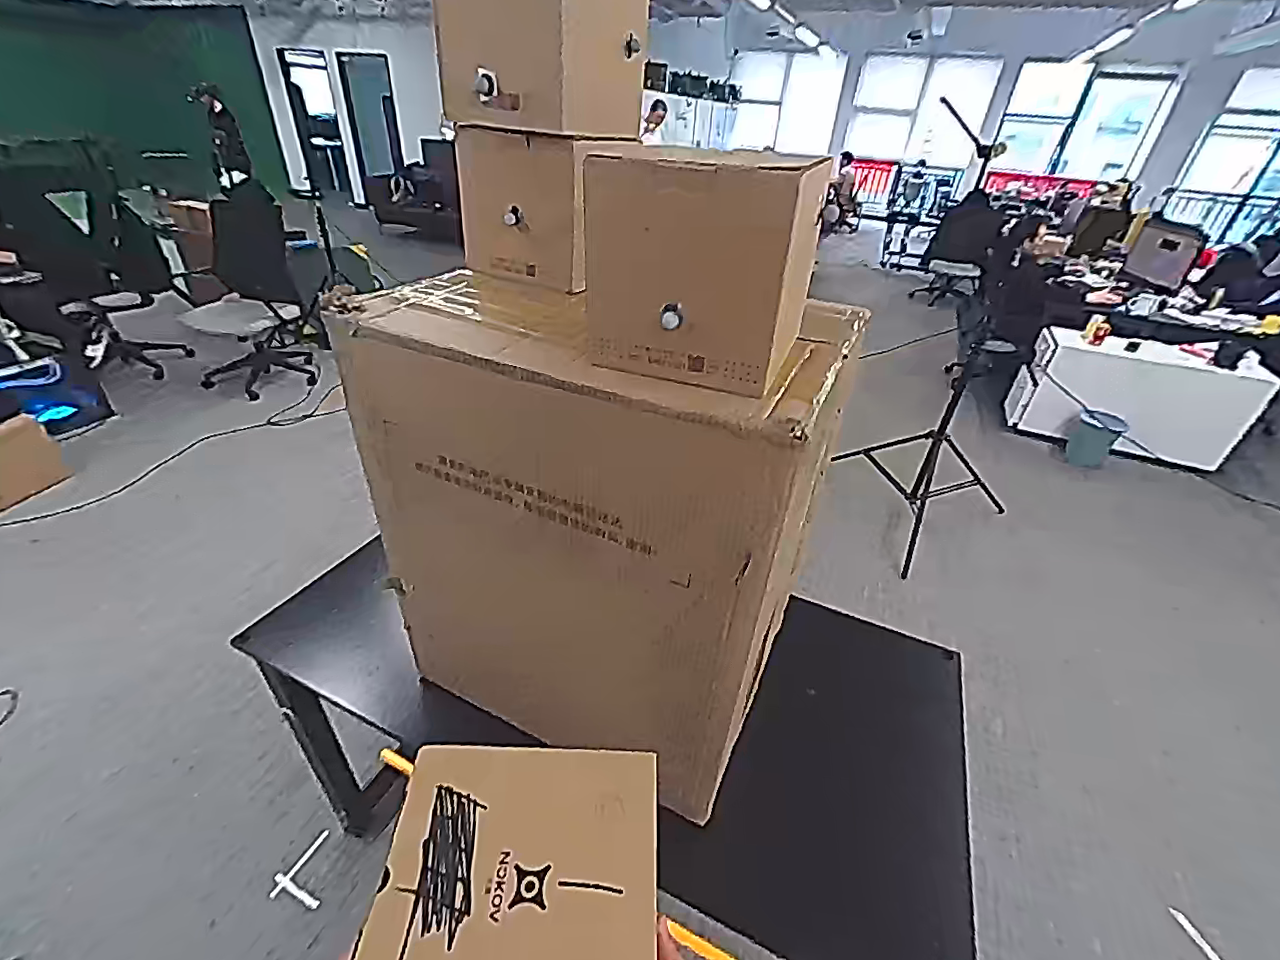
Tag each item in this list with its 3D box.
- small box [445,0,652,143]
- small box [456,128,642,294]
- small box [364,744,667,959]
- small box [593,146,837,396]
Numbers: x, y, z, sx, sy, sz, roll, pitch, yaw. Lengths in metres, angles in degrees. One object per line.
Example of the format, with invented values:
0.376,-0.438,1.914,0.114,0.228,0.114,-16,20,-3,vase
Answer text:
-0.101,-0.482,0.604,0.168,0.176,0.179,19,36,20,small box
-0.109,-0.355,0.708,0.168,0.176,0.179,19,36,18,small box
-0.072,0.312,0.387,0.179,0.176,0.168,2,40,0,small box
0.066,-0.196,0.489,0.168,0.176,0.179,15,37,18,small box
